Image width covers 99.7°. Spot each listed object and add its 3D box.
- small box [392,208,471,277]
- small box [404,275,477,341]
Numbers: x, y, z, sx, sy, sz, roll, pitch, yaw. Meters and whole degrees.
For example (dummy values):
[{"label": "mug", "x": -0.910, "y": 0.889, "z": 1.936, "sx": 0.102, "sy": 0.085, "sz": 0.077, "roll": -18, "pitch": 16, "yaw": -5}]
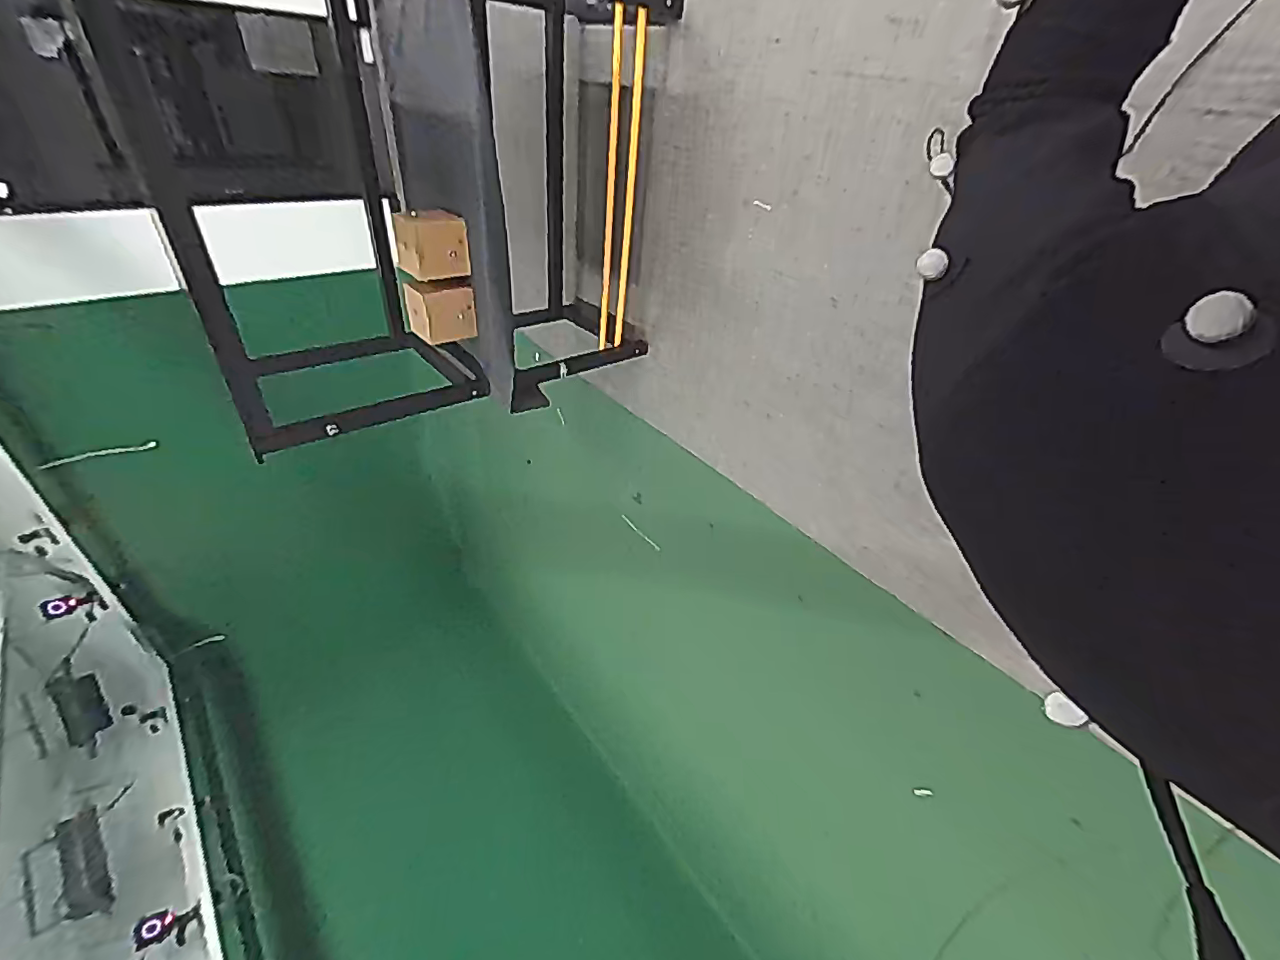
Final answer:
[{"label": "small box", "x": -0.654, "y": -0.754, "z": 1.705, "sx": 0.179, "sy": 0.176, "sz": 0.168, "roll": 36, "pitch": 137, "yaw": 37}, {"label": "small box", "x": -0.668, "y": -0.585, "z": 1.819, "sx": 0.179, "sy": 0.176, "sz": 0.168, "roll": 36, "pitch": 136, "yaw": 37}]
